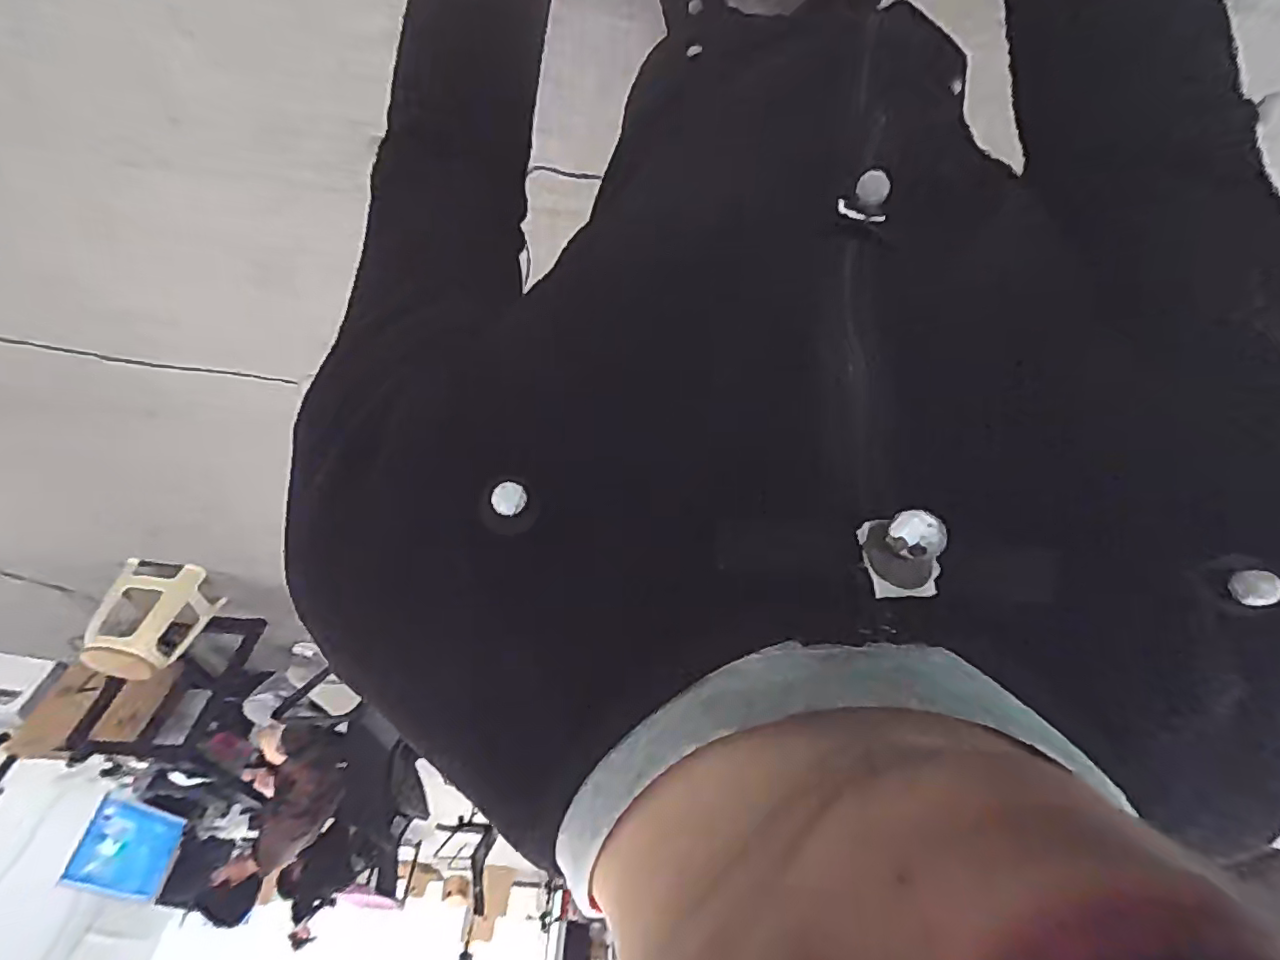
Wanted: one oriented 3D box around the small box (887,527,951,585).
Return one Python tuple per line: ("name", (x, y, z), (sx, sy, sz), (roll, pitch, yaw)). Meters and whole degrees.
("small box", (1.094, 0.299, 2.137), (0.168, 0.176, 0.179), (-1, 137, 6))
